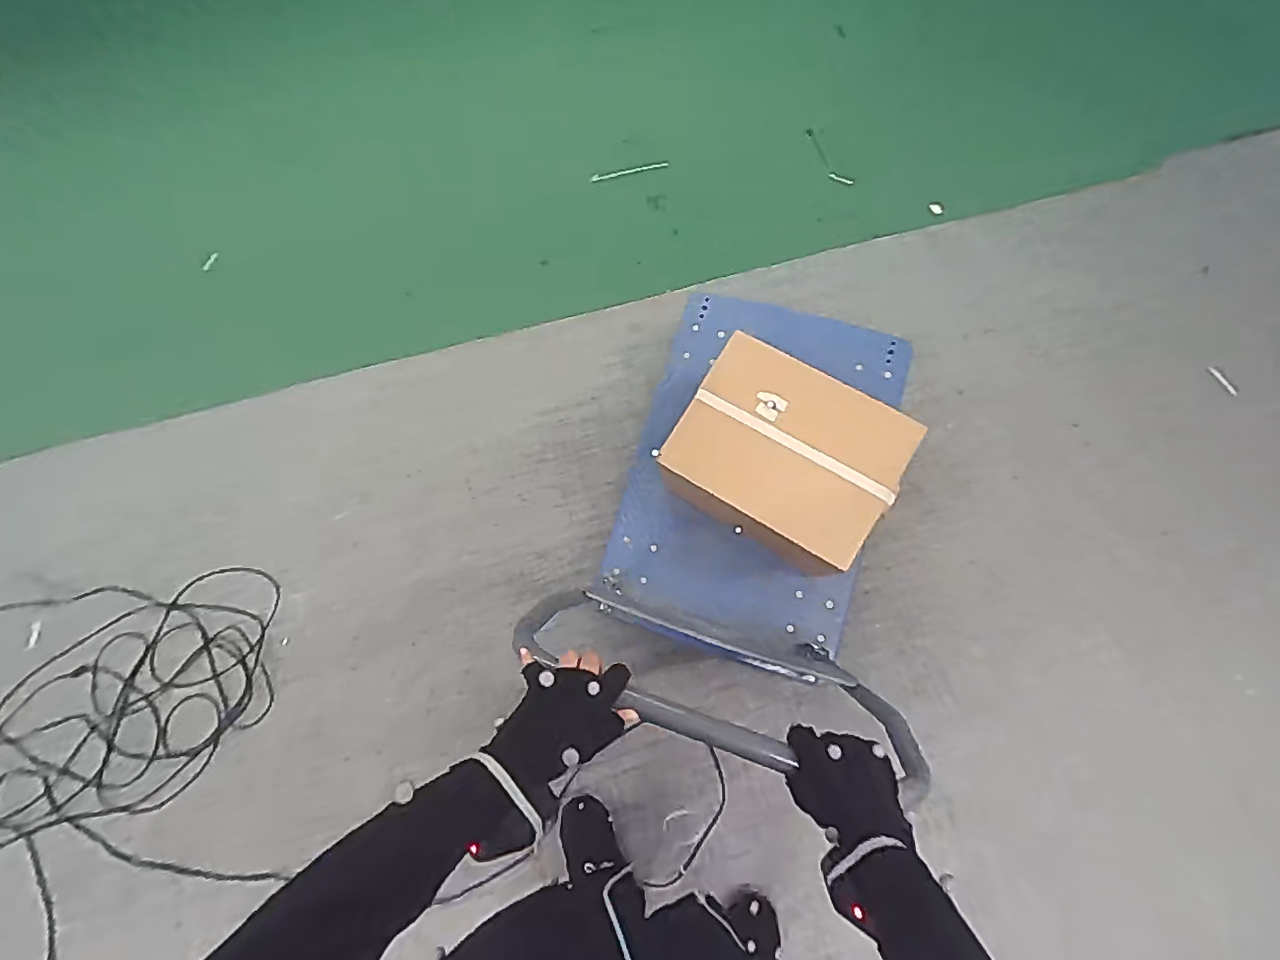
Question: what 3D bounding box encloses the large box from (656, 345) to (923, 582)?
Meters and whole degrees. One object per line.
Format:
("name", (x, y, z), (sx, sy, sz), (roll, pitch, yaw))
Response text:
("large box", (0.296, -0.015, 1.157), (0.408, 0.320, 0.320), (31, 83, 13))
